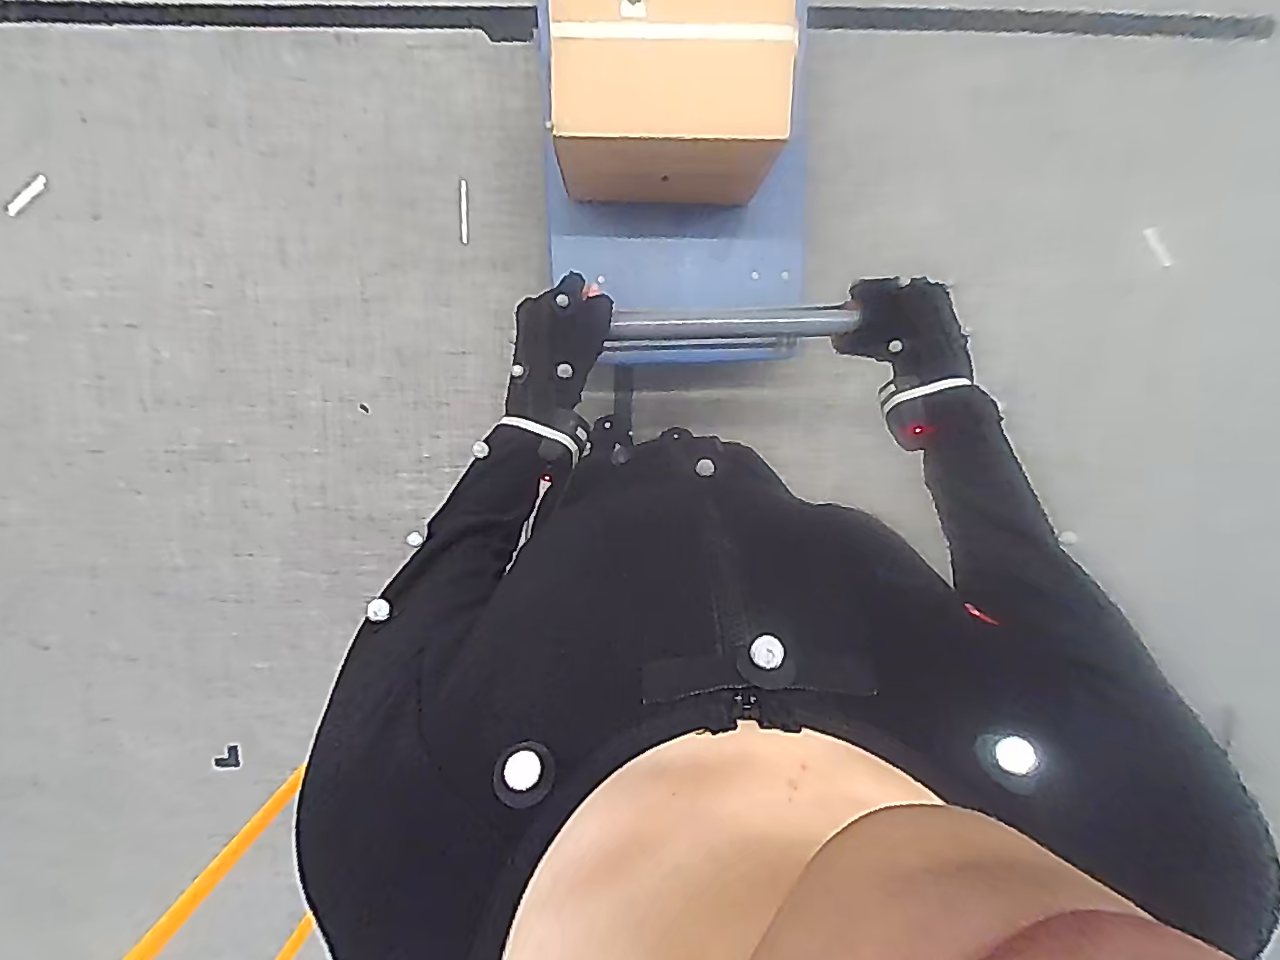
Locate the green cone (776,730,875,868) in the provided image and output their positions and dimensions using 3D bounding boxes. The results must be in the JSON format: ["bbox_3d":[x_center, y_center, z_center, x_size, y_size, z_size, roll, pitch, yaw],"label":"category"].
[{"bbox_3d":[0.513,0.859,1.427,0.202,0.368,0.200,4,98,-3],"label":"green cone"}]

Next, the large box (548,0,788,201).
[{"bbox_3d":[0.047,-0.752,1.044,0.408,0.320,0.320,0,98,-1],"label":"large box"}]
